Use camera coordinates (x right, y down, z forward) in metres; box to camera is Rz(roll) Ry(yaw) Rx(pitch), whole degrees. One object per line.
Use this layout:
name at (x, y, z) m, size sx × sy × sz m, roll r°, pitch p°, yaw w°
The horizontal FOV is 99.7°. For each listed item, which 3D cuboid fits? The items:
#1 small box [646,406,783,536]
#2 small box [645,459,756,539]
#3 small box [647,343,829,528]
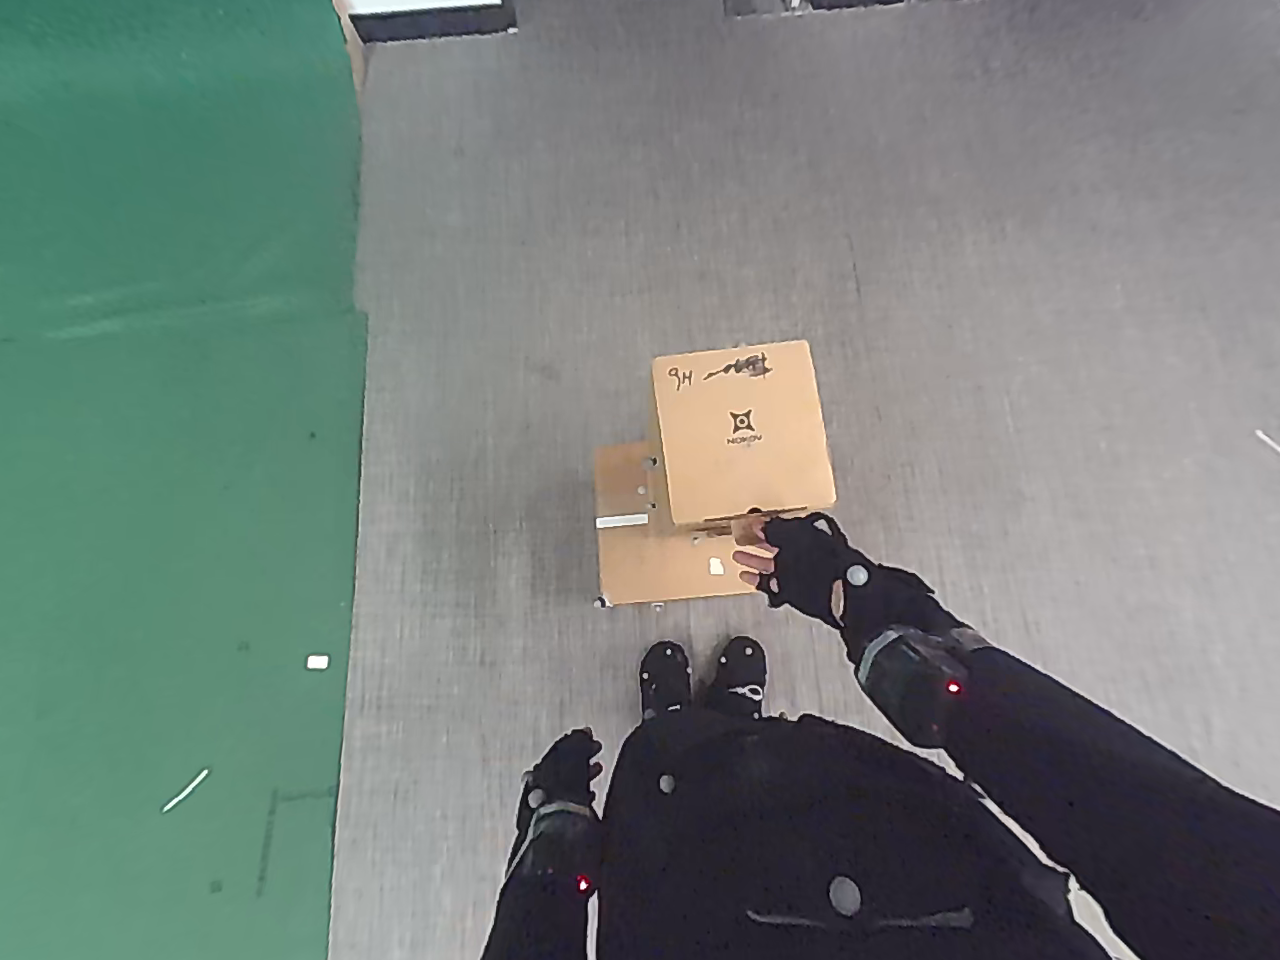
small box at (0.098, -0.012, 0.791) m, size 0.168 × 0.176 × 0.179 m, roll -6°, pitch 81°, yaw -2°
small box at (0.100, 0.015, 0.948) m, size 0.179 × 0.176 × 0.168 m, roll 2°, pitch 81°, yaw 1°
small box at (0.100, -0.039, 0.629) m, size 0.168 × 0.176 × 0.179 m, roll -7°, pitch 83°, yaw -2°
